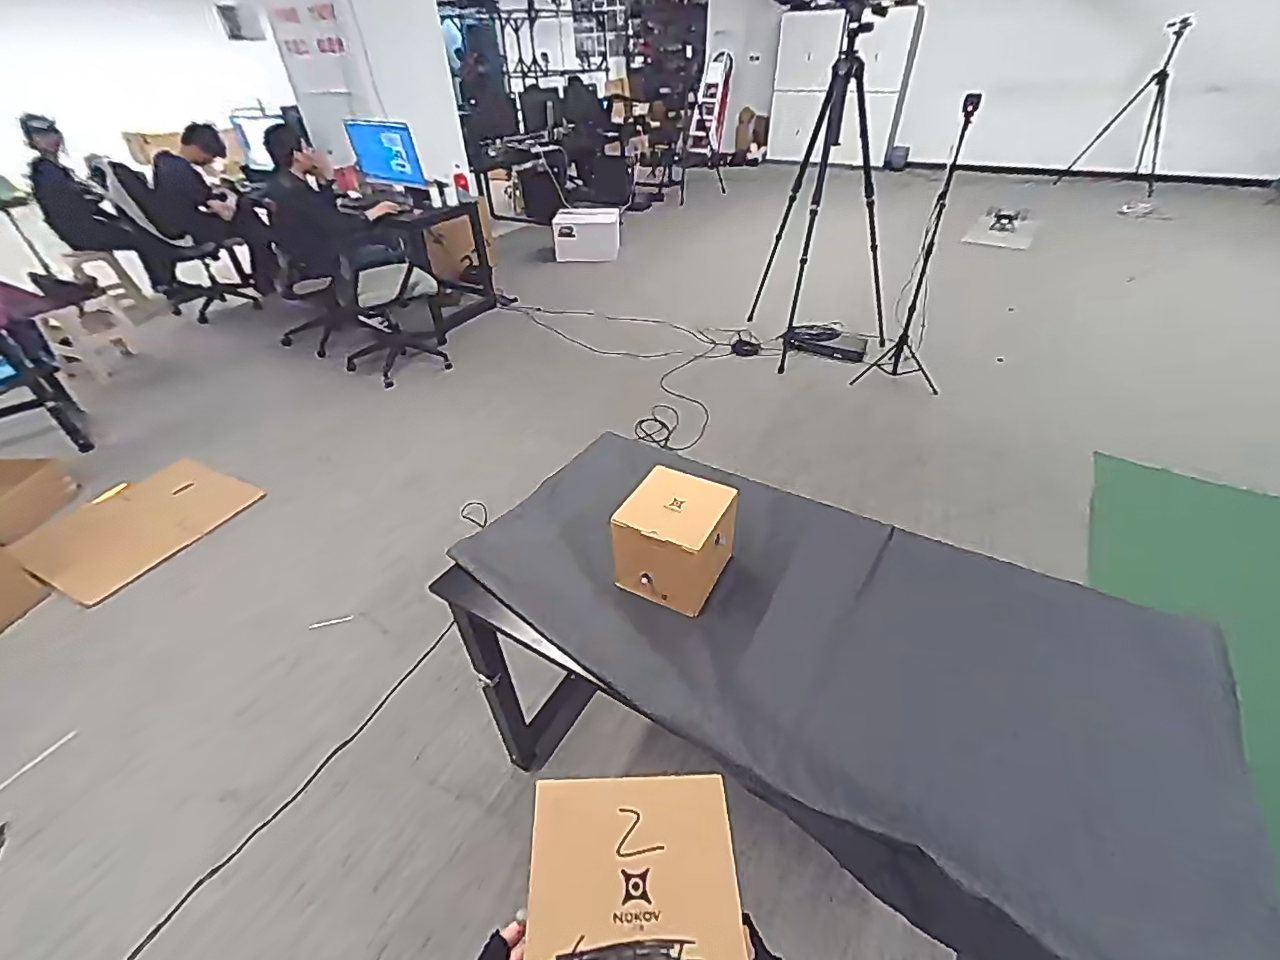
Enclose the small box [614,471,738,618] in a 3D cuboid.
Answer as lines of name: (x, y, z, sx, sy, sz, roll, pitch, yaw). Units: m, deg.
small box: (0.065, 0.116, 0.996, 0.168, 0.176, 0.179, 19, 43, 23)
